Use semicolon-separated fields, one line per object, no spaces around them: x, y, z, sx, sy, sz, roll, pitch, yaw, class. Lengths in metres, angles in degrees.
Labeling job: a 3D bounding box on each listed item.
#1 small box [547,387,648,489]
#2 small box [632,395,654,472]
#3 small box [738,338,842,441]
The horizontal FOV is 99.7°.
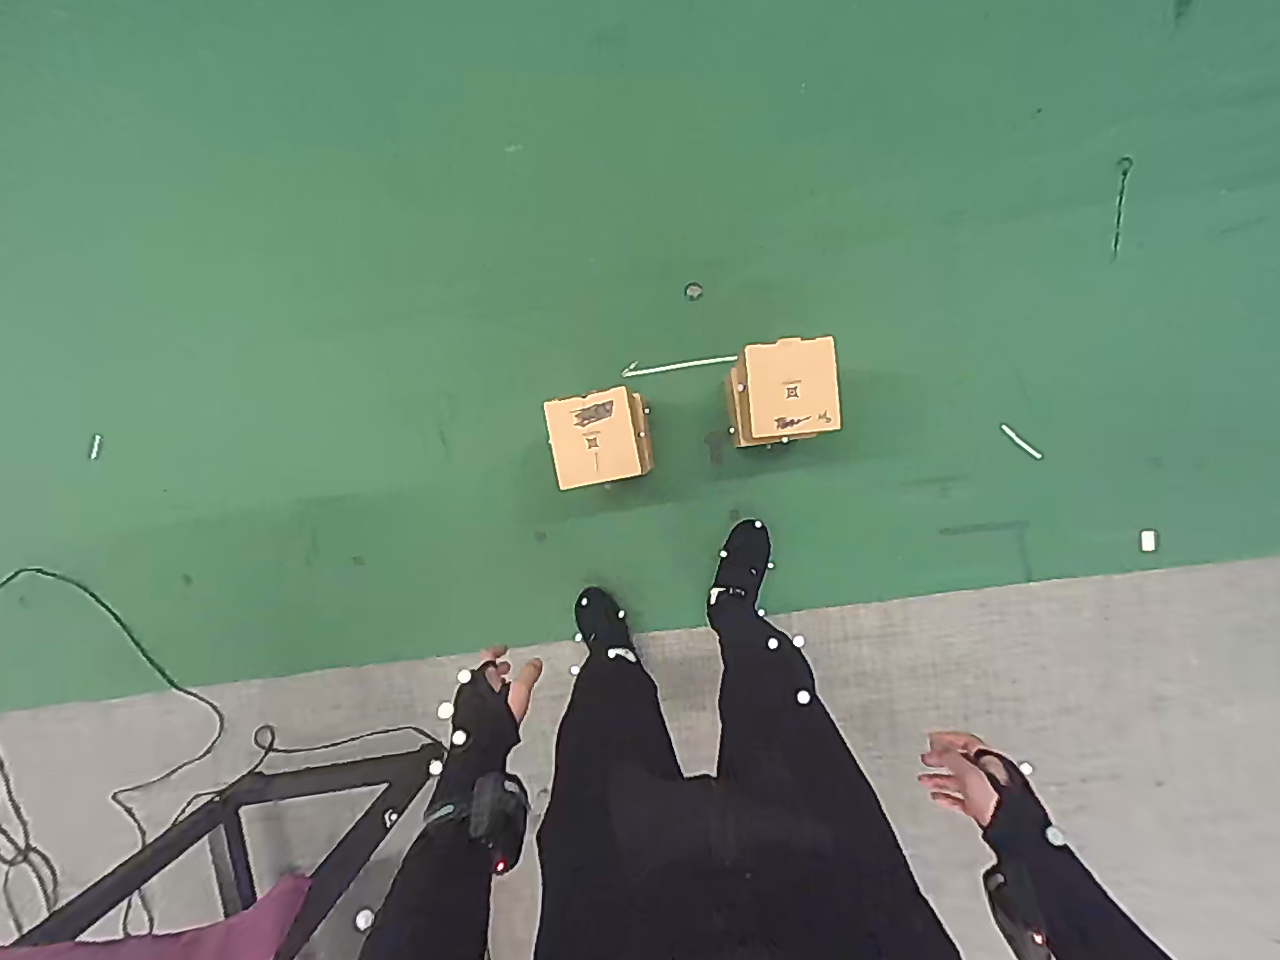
-0.082;-0.082;1.117;0.168;0.176;0.179;-10;92;6;small box
-0.060;-0.098;1.280;0.168;0.176;0.179;-7;91;6;small box
0.291;-0.173;1.080;0.168;0.176;0.179;-5;92;5;small box
